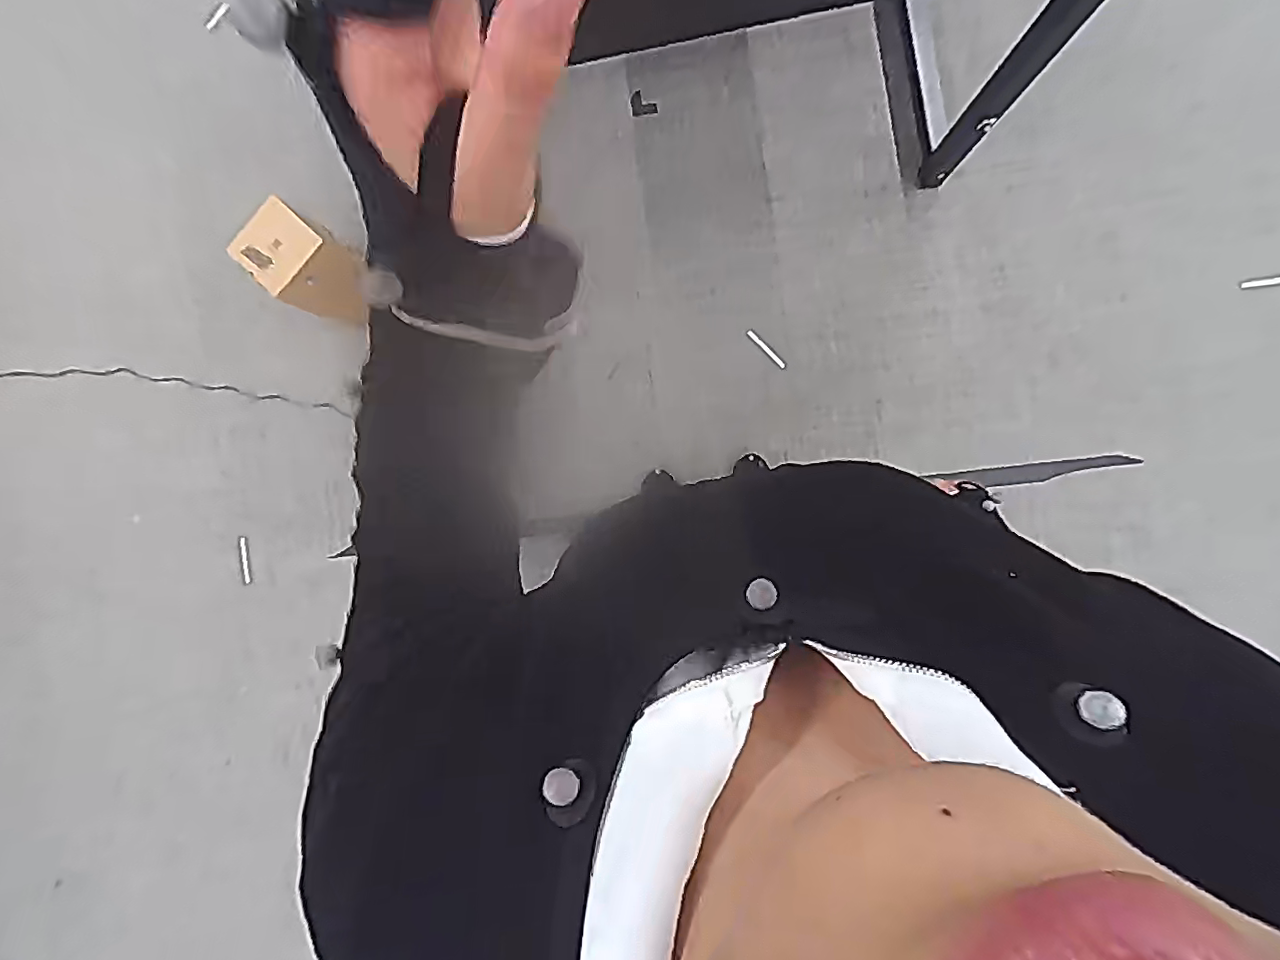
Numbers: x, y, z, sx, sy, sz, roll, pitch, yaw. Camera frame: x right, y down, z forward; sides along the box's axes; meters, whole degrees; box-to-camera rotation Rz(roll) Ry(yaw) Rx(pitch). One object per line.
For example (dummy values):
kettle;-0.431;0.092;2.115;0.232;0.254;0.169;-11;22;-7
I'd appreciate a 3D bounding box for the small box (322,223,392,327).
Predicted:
small box;-0.818;-0.554;1.486;0.168;0.176;0.179;41;93;3

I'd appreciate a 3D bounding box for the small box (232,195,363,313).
small box;-0.823;-0.540;1.321;0.168;0.176;0.179;43;94;2
